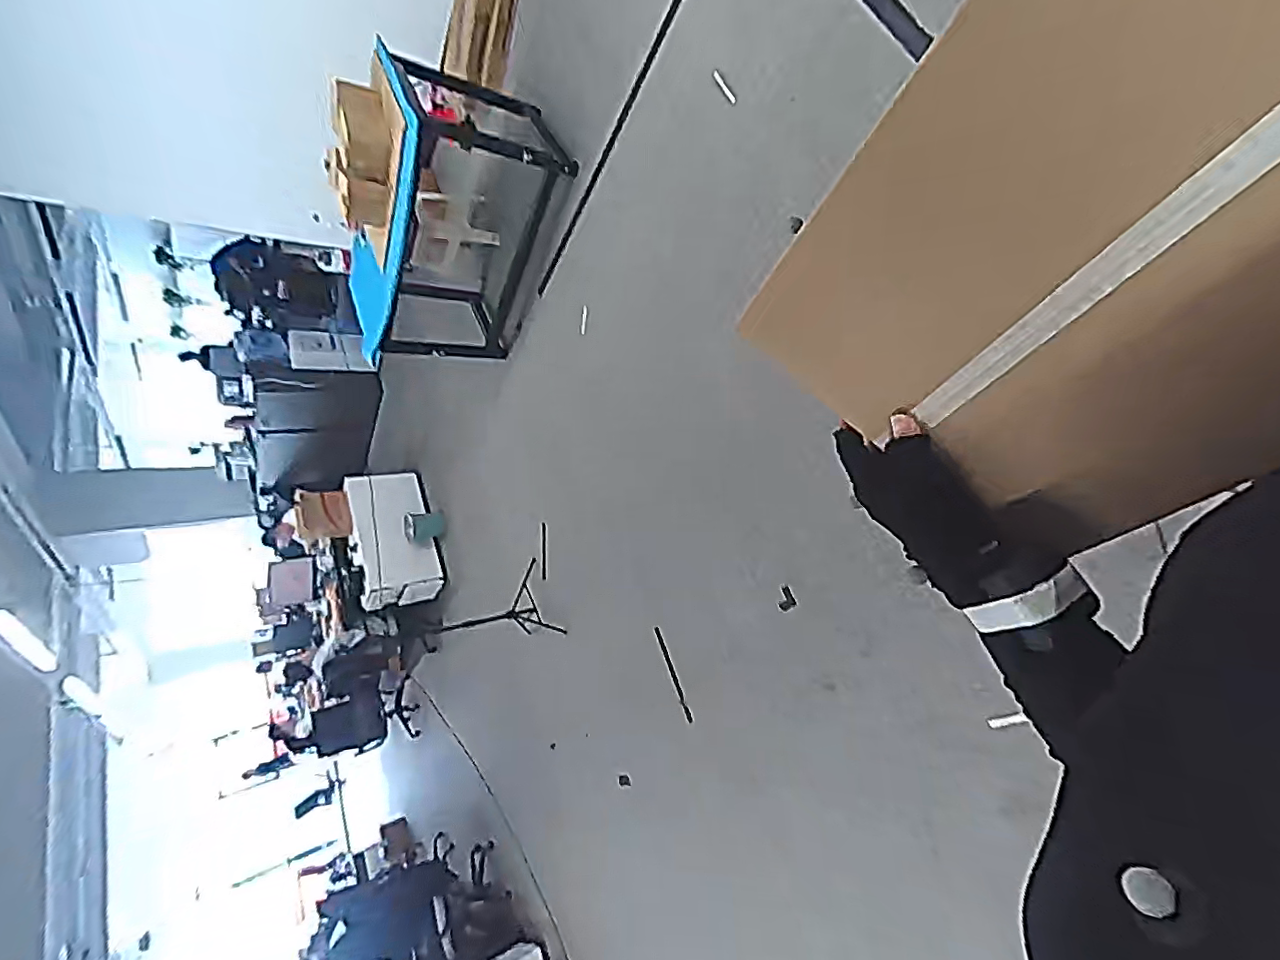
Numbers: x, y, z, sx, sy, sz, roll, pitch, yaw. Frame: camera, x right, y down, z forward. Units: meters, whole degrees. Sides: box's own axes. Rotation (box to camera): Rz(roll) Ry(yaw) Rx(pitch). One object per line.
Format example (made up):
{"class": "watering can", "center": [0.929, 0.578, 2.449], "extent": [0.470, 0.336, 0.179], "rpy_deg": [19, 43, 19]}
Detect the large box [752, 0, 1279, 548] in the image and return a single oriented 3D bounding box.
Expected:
{"class": "large box", "center": [0.357, -0.227, 0.400], "extent": [0.320, 0.320, 0.408], "rpy_deg": [39, 138, 2]}
